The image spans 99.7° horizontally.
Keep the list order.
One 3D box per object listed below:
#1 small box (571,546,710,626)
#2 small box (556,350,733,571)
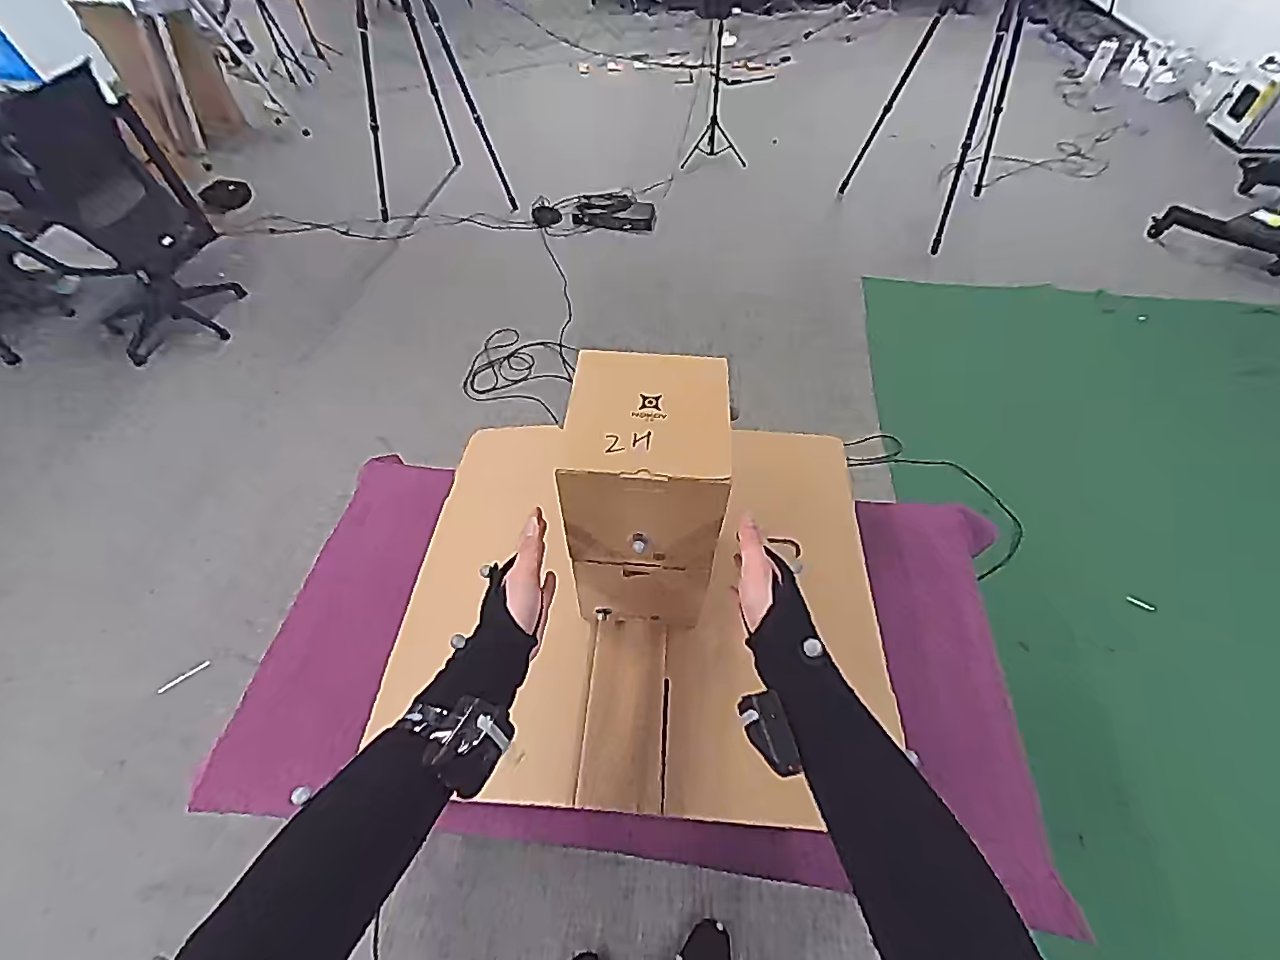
[{"bbox_3d":[0.006,0.083,0.734,0.168,0.176,0.179,4,52,1],"label":"small box"},{"bbox_3d":[0.008,-0.020,0.606,0.168,0.176,0.179,4,53,2],"label":"small box"}]
